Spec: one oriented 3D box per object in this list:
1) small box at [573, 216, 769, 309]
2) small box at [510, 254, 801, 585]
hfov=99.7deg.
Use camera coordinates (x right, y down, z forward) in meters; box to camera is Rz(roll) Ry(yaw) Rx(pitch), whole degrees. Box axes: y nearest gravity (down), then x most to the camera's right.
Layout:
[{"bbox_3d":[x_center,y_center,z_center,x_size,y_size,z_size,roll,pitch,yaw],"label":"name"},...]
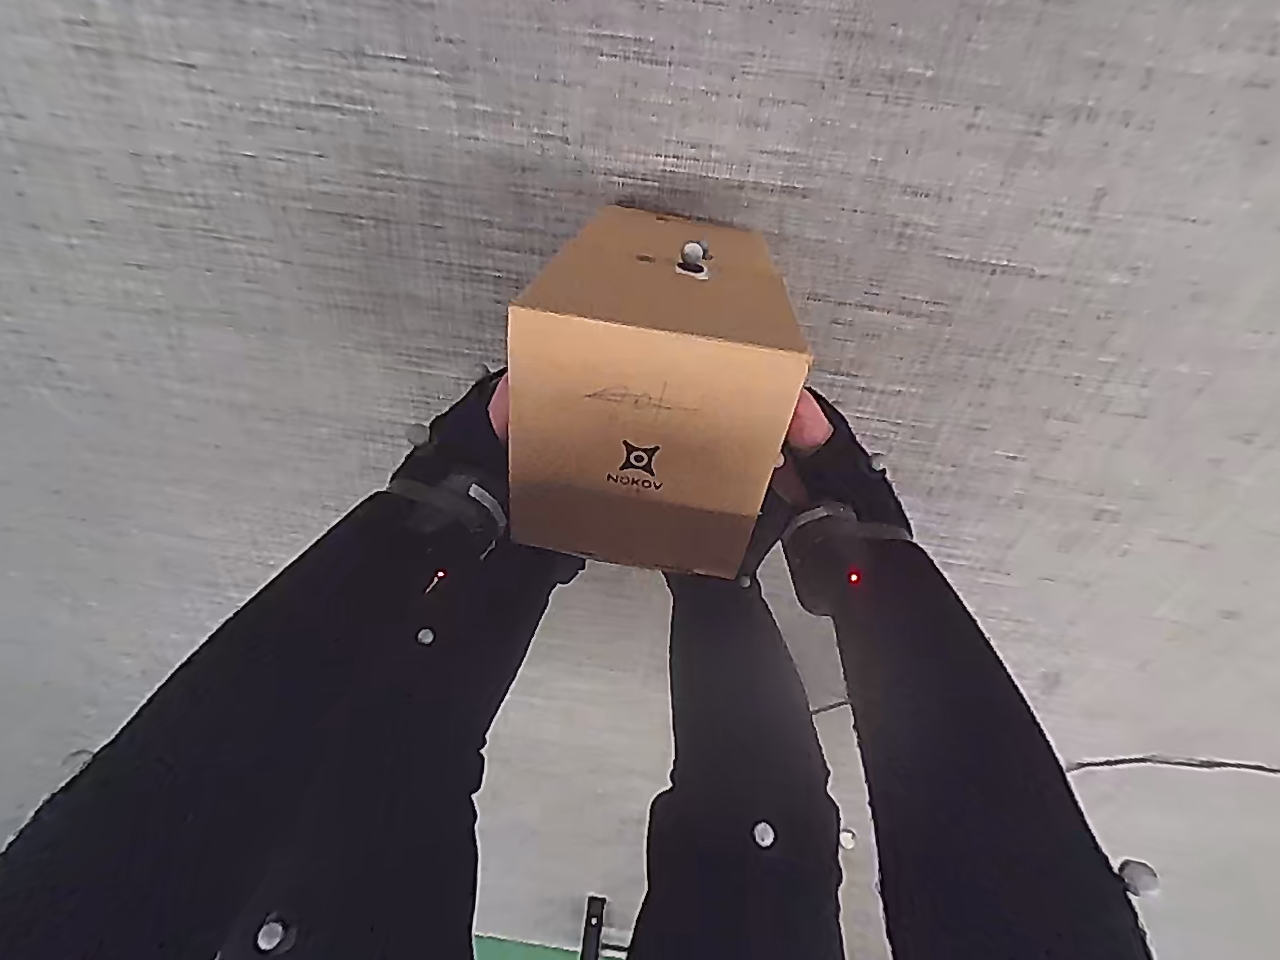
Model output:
[{"bbox_3d":[0.020,-0.143,0.543,0.168,0.176,0.179,11,126,-1],"label":"small box"},{"bbox_3d":[0.006,-0.051,0.408,0.168,0.176,0.179,8,125,0],"label":"small box"}]
